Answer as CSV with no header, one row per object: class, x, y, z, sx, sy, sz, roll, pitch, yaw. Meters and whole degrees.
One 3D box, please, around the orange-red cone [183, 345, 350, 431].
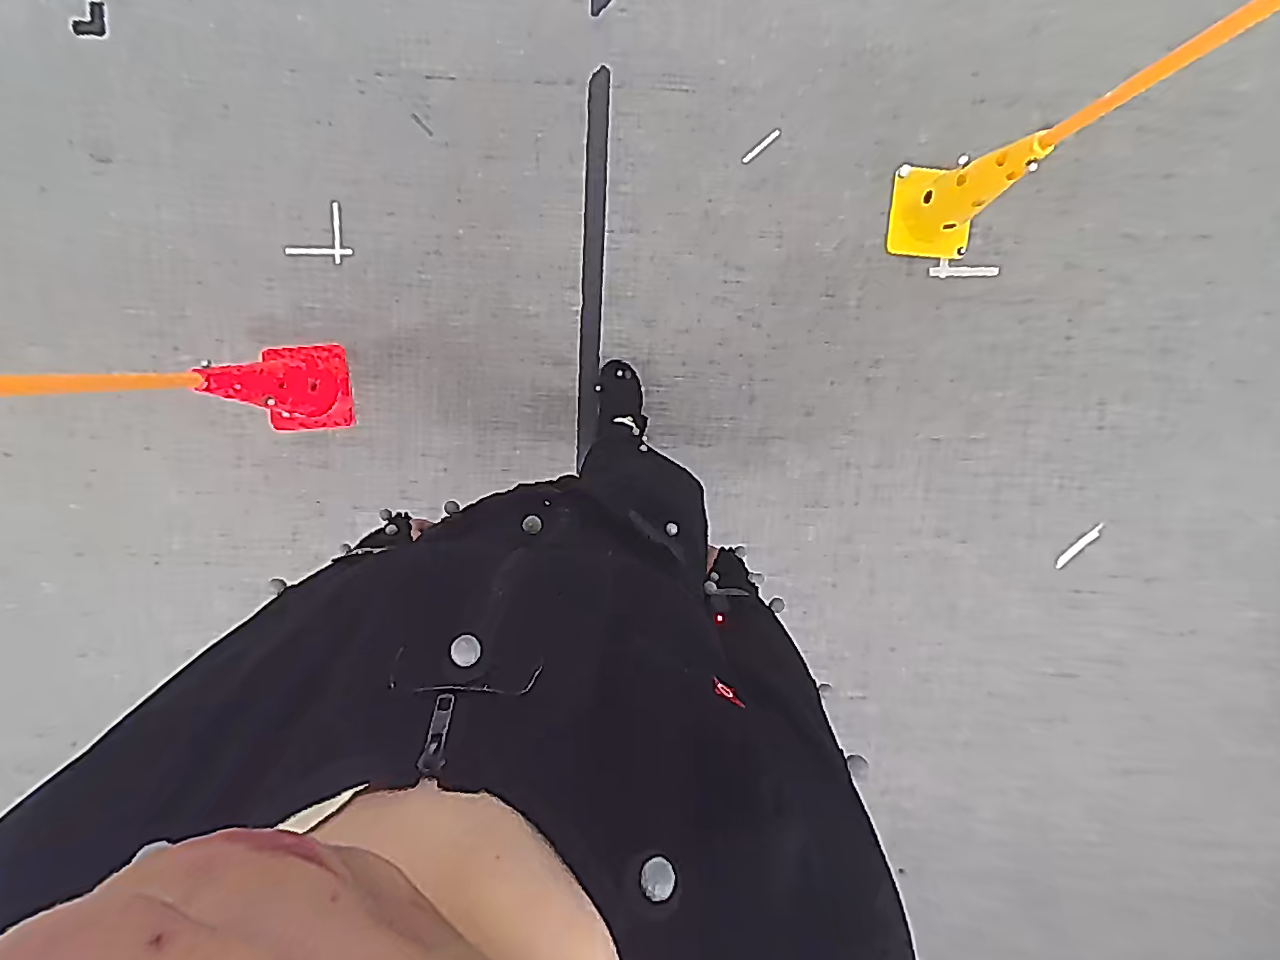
orange-red cone,-0.792,-0.196,1.123,0.199,0.360,0.198,-3,98,-3
